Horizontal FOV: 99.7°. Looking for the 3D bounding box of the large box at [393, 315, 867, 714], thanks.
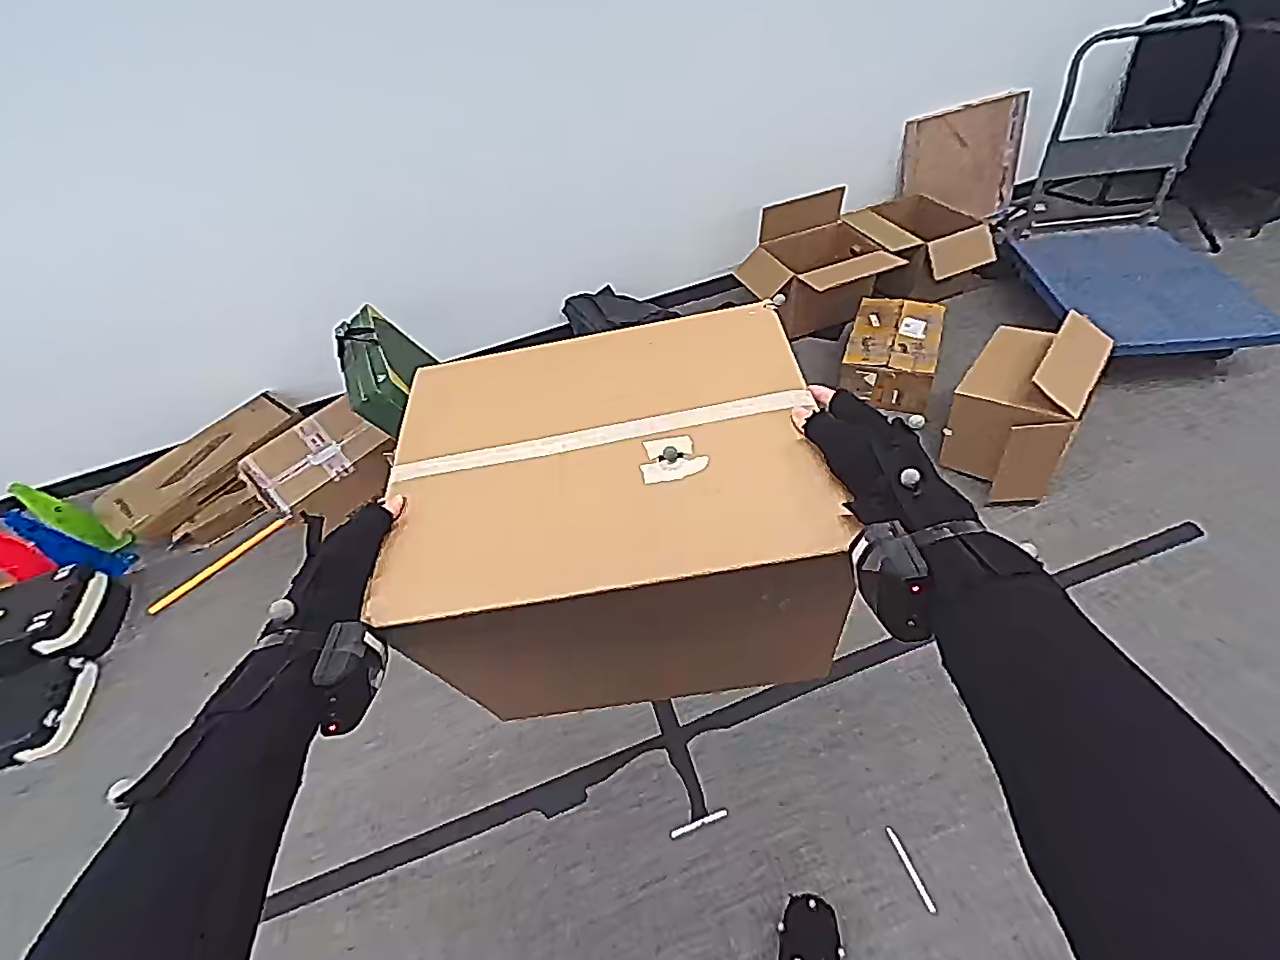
[{"bbox_3d":[-0.007,0.055,0.644,0.408,0.320,0.320,-9,53,3],"label":"large box"}]
